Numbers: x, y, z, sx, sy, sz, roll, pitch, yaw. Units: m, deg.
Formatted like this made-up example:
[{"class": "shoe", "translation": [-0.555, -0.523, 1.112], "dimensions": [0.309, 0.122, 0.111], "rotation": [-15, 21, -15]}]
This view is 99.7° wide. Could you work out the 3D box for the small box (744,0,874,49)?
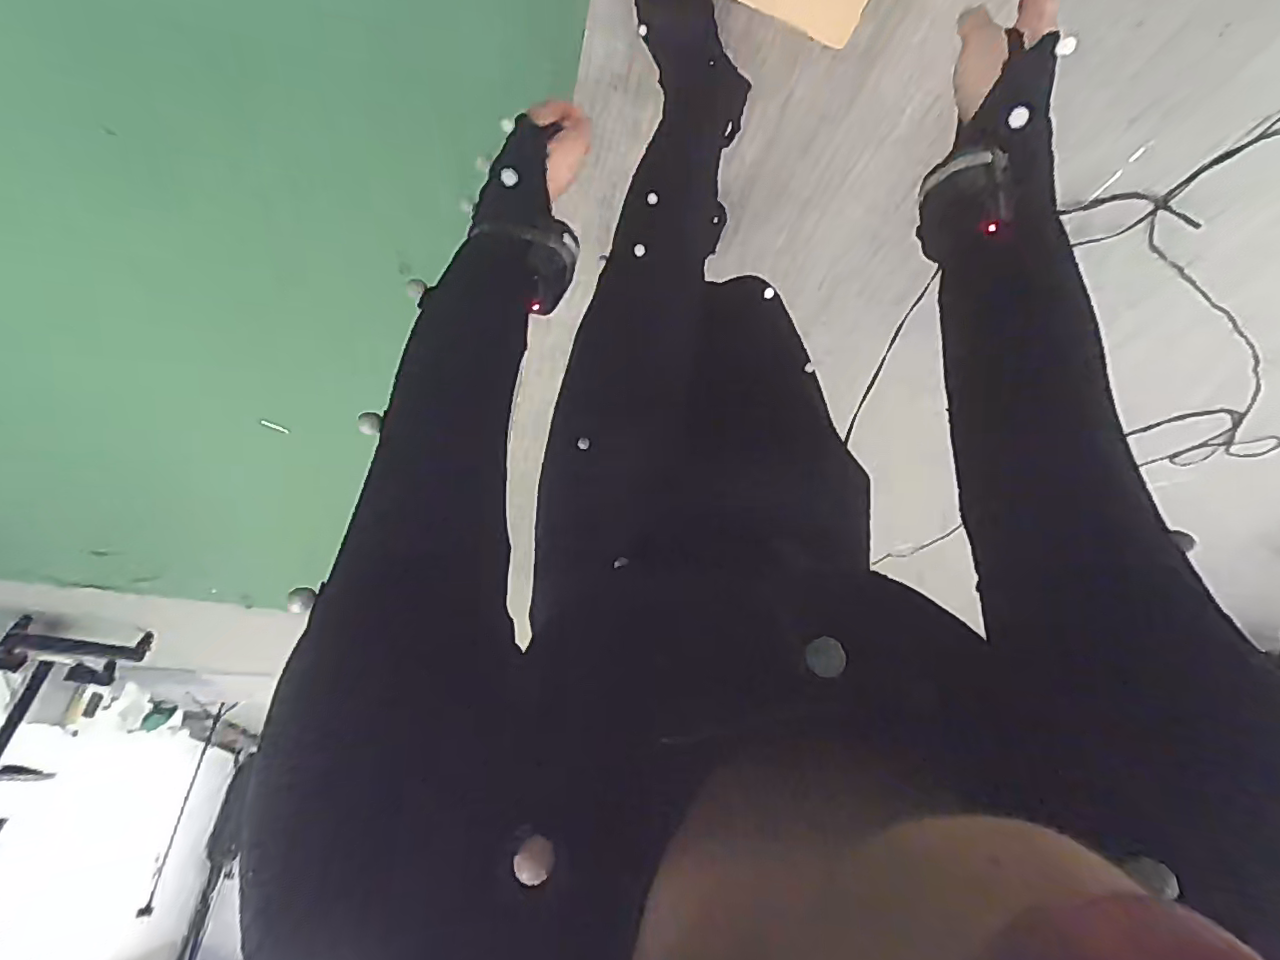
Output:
[{"class": "small box", "translation": [0.152, -0.555, 0.496], "dimensions": [0.179, 0.176, 0.168], "rotation": [11, 145, -18]}]
